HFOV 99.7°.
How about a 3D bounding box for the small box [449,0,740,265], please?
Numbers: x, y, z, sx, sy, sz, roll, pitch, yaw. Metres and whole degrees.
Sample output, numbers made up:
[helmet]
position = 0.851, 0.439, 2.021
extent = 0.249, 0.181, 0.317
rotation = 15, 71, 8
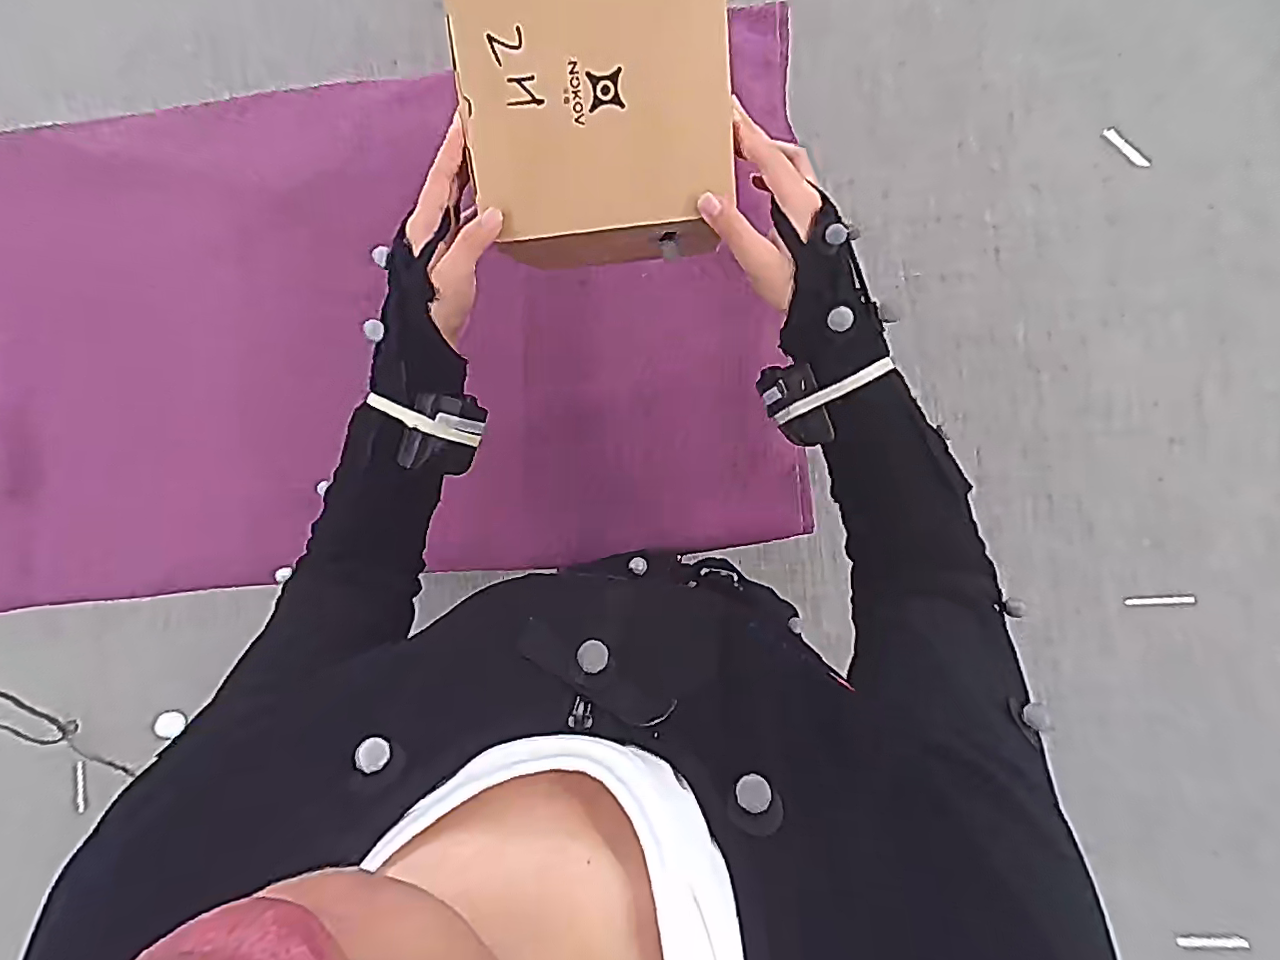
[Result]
[small box]
position = -0.023, -0.270, 0.419
extent = 0.179, 0.176, 0.168
rotation = -4, 104, 5
